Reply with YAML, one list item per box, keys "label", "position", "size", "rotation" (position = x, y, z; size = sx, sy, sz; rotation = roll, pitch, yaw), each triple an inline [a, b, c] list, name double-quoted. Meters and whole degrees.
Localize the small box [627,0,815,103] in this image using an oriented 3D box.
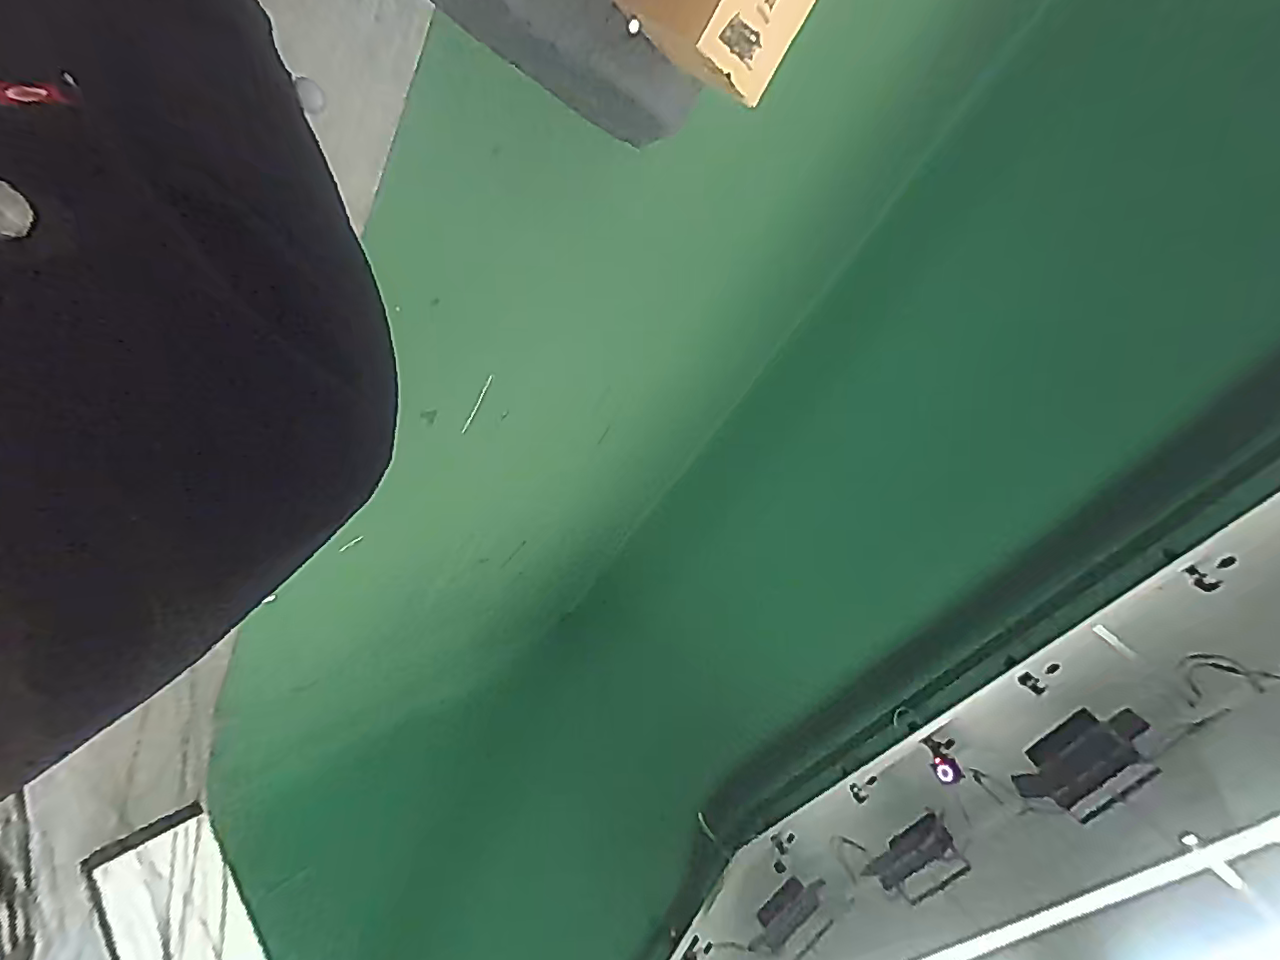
- label: "small box"
  position: [0.104, -0.637, 0.685]
  size: [0.168, 0.176, 0.179]
  rotation: [-11, 141, -55]
